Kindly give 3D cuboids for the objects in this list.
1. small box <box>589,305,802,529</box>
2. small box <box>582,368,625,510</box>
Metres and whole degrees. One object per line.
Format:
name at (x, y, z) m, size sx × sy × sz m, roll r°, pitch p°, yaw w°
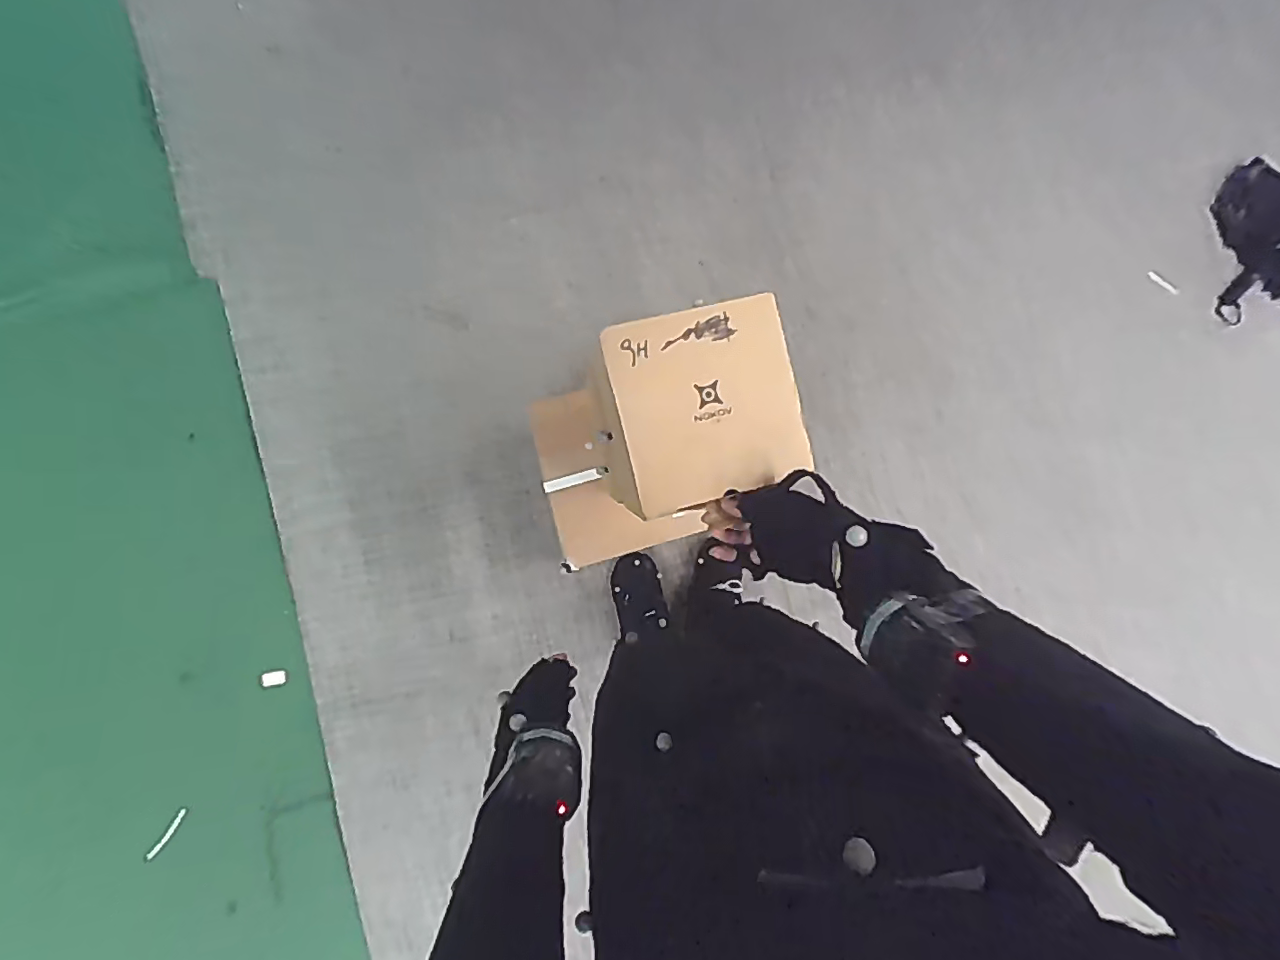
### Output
small box at (0.045, -0.062, 0.571) m, size 0.168 × 0.176 × 0.179 m, roll -15°, pitch 94°, yaw -6°
small box at (0.020, -0.068, 0.733) m, size 0.168 × 0.176 × 0.179 m, roll -14°, pitch 92°, yaw -7°
